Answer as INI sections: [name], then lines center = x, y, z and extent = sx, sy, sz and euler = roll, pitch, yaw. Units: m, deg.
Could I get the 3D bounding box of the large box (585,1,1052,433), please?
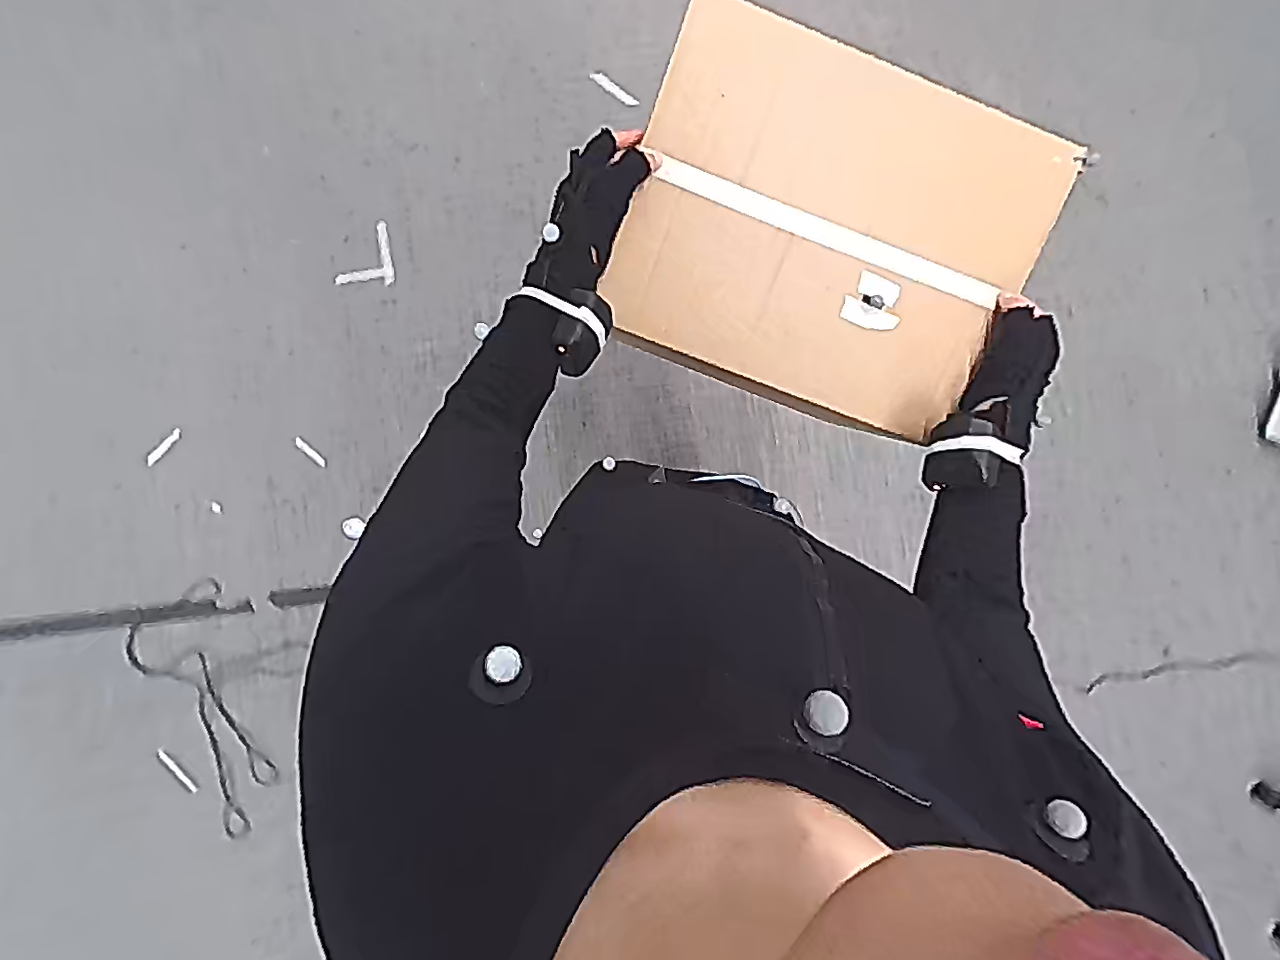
[large box]
center = 0.172, -0.281, 0.695
extent = 0.408, 0.320, 0.320
euler = 19, 102, -5
